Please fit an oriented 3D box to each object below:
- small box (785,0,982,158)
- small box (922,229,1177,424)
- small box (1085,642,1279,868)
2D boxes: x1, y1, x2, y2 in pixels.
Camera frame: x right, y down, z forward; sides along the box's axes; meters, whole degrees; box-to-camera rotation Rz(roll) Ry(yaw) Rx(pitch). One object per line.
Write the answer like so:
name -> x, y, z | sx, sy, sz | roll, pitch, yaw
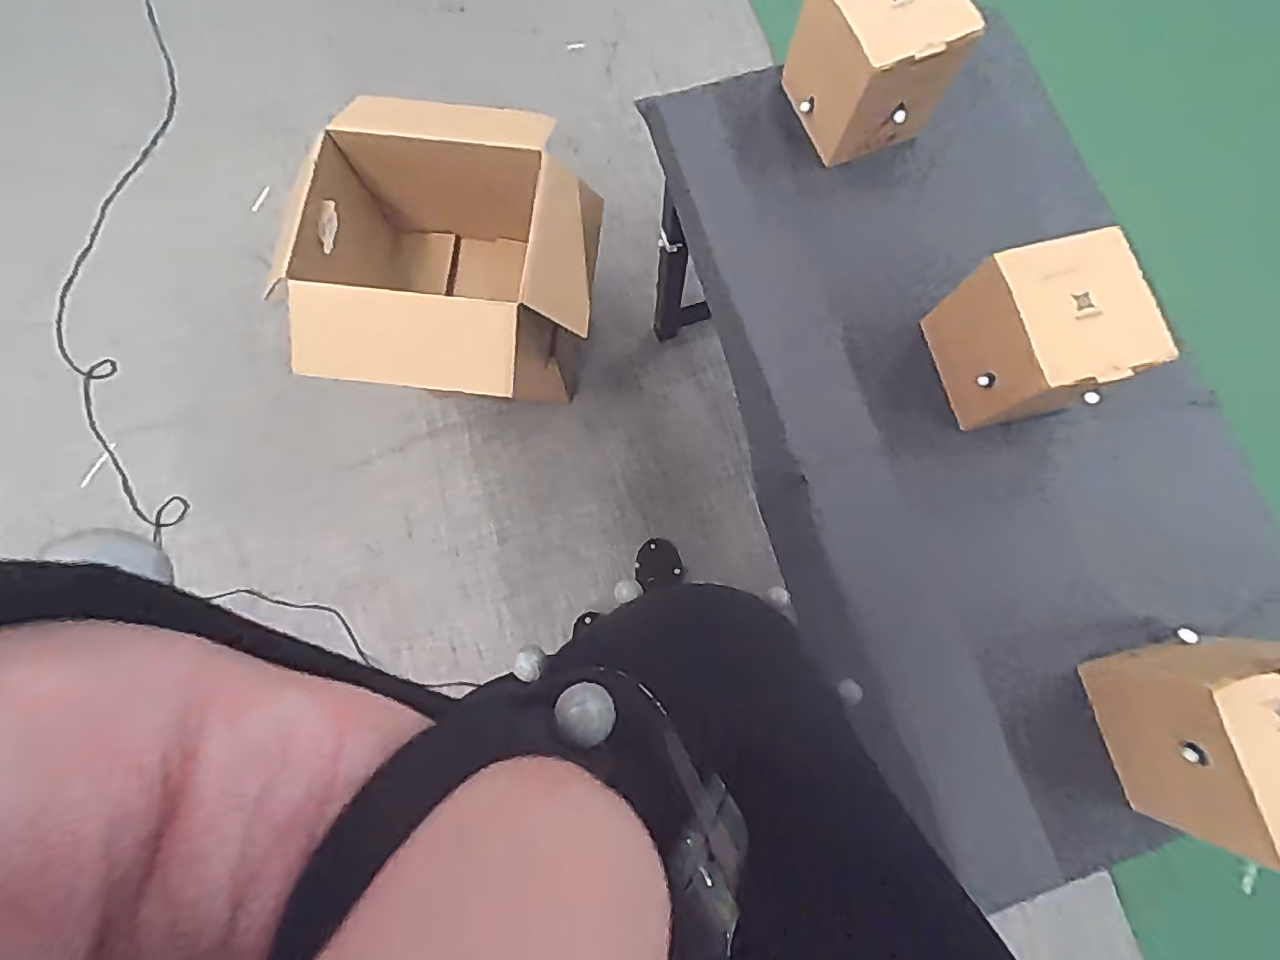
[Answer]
small box -> 0.336, -0.605, 0.783 | 0.168, 0.176, 0.179 | -22, 81, -5
small box -> 0.507, -0.183, 0.700 | 0.168, 0.176, 0.179 | -14, 78, -5
small box -> 0.656, 0.285, 0.600 | 0.168, 0.176, 0.179 | -13, 79, -3
